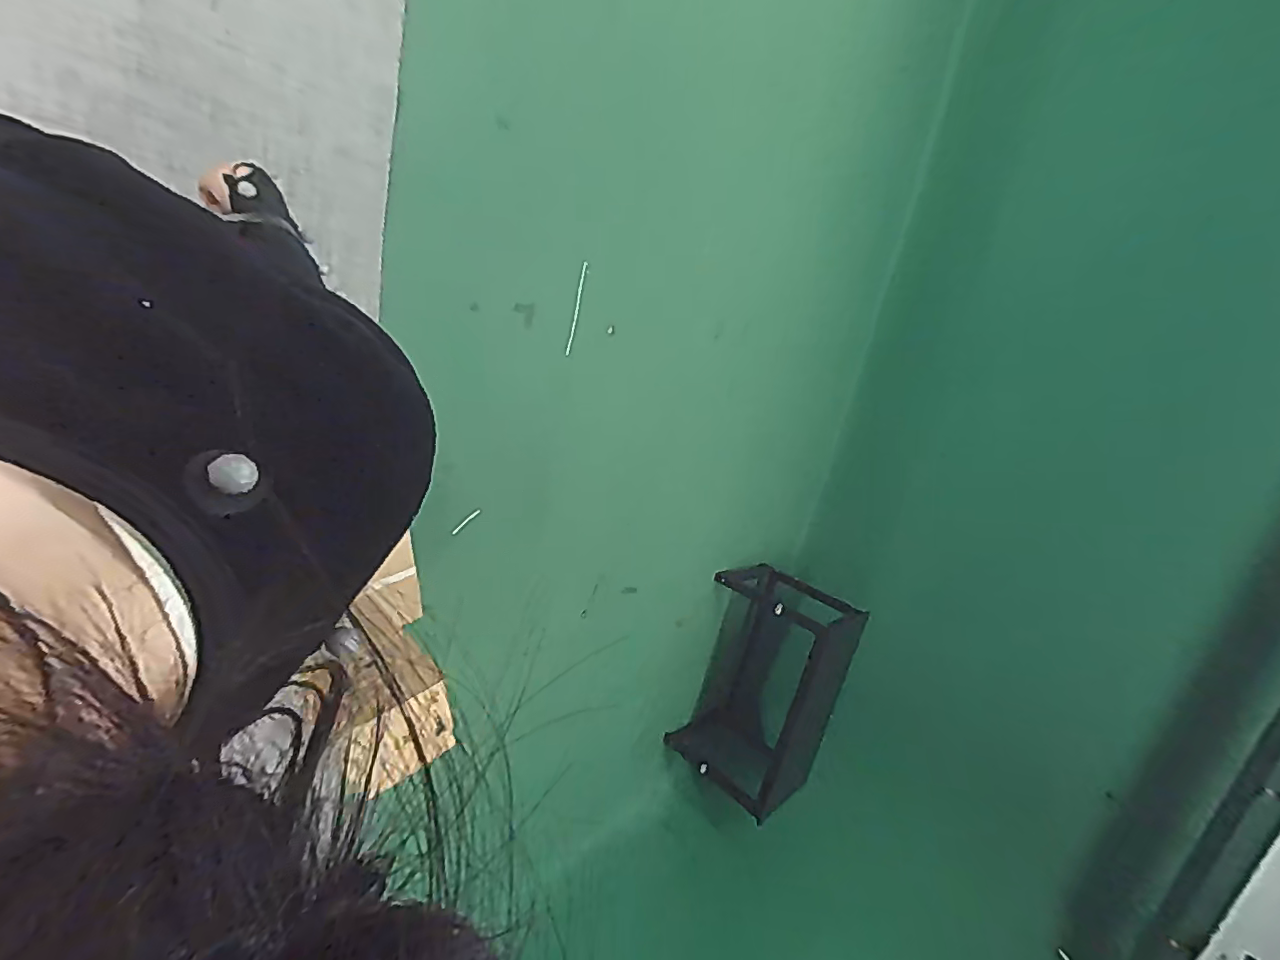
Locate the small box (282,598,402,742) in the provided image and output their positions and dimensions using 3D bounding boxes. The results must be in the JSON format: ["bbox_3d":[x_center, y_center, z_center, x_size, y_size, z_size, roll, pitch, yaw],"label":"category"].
[{"bbox_3d":[-0.582,0.365,1.070,0.179,0.176,0.168,-22,124,-41],"label":"small box"}]

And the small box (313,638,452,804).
[{"bbox_3d":[-0.464,0.419,0.969,0.179,0.176,0.168,-20,123,-40],"label":"small box"}]
